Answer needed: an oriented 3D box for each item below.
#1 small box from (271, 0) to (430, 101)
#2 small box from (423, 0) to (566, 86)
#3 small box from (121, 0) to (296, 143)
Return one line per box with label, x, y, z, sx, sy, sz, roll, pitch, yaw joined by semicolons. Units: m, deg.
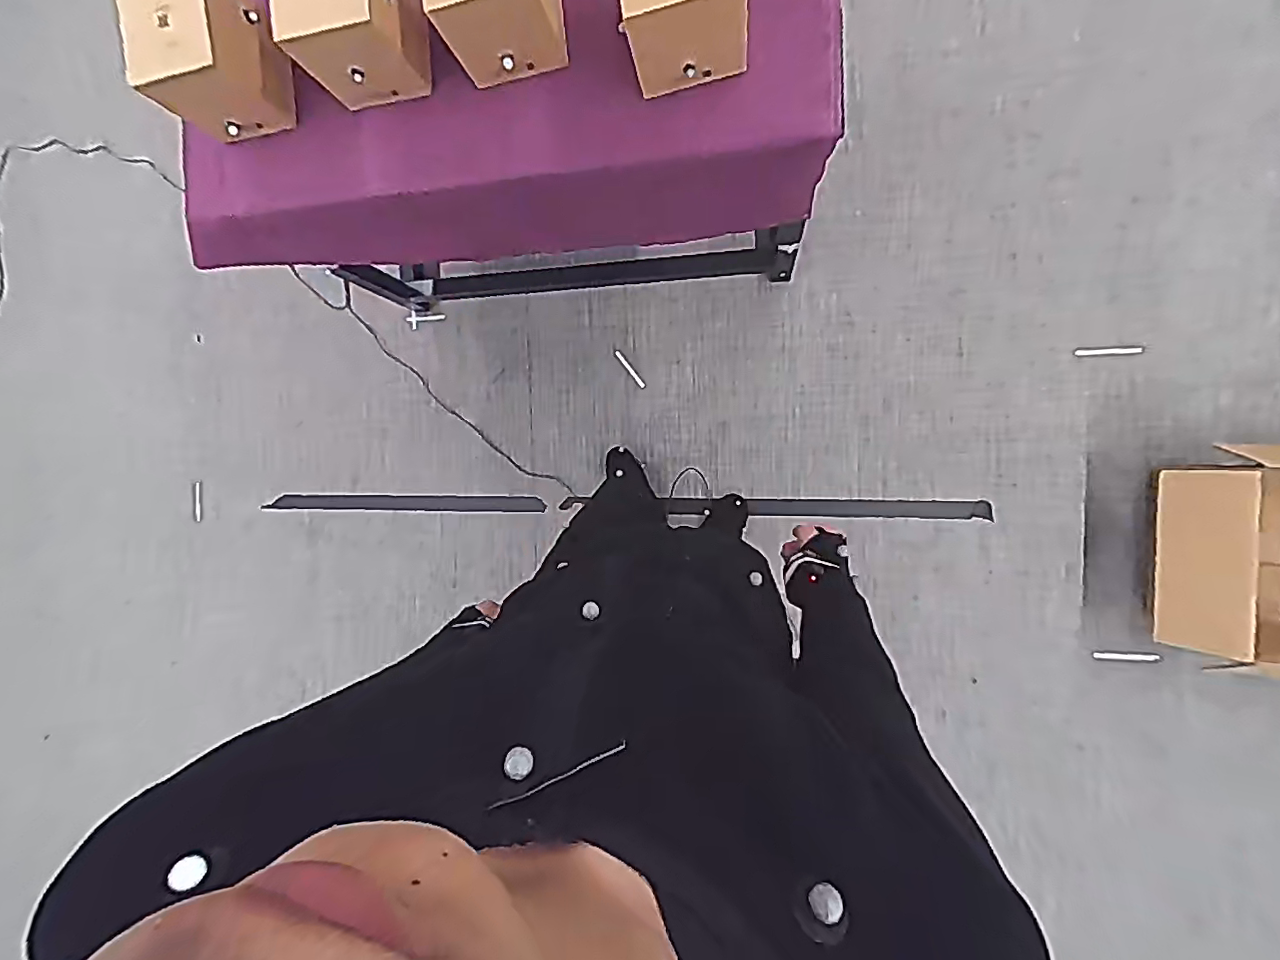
small box;-0.460;-0.753;0.877;0.168;0.176;0.179;-3;91;10
small box;-0.222;-0.765;0.834;0.168;0.176;0.179;-6;92;11
small box;-0.728;-0.724;0.927;0.168;0.176;0.179;-5;91;11
